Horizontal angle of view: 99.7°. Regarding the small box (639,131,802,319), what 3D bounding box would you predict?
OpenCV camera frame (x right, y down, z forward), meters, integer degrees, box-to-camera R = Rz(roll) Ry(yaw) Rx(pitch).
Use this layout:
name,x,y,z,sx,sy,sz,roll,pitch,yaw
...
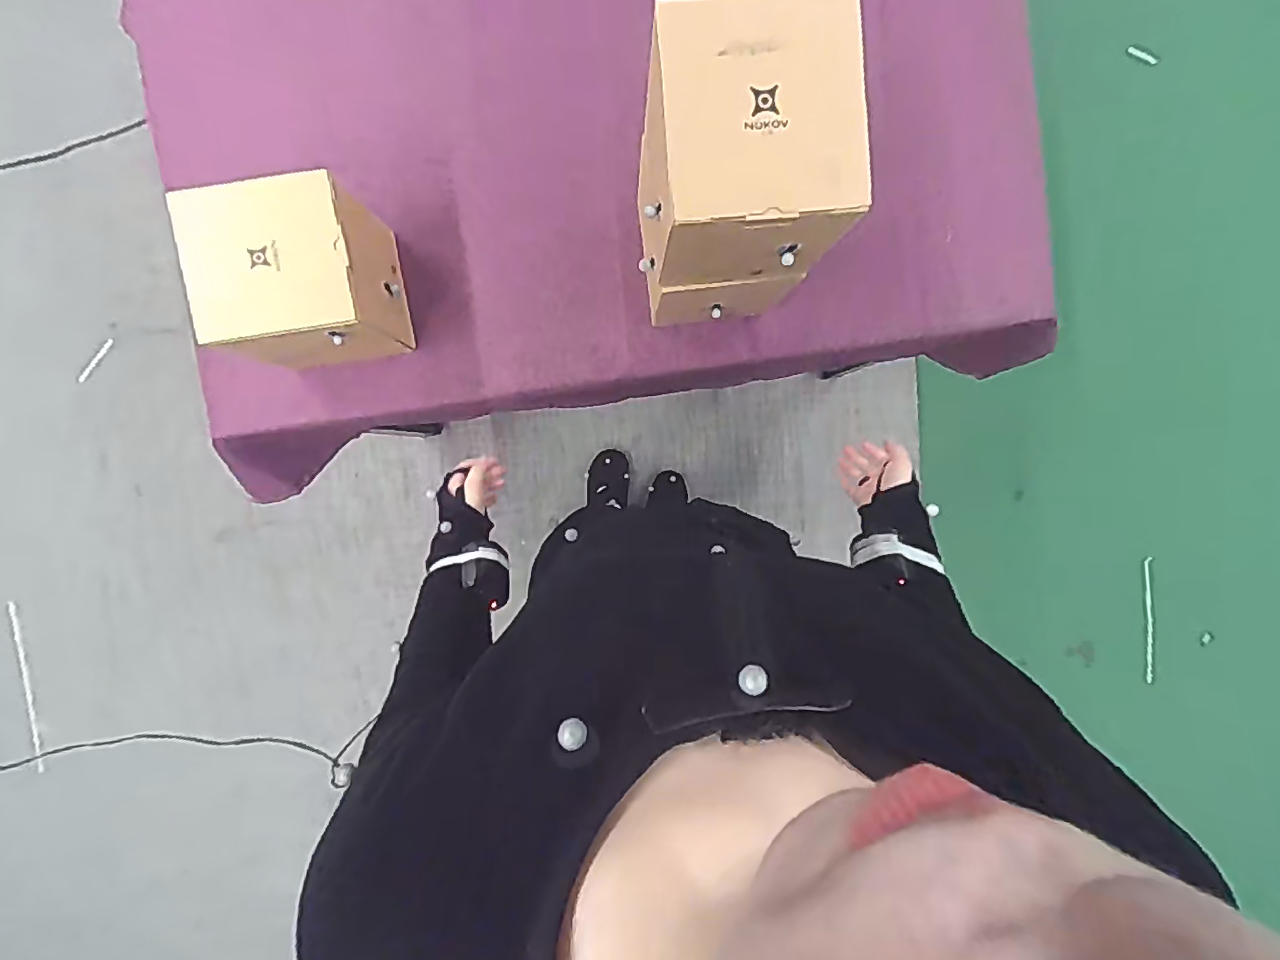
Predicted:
name,x,y,z,sx,sy,sz,roll,pitch,yaw
small box,0.090,-0.307,0.673,0.168,0.176,0.179,-7,93,-1

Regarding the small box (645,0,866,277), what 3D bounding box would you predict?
name,x,y,z,sx,sy,sz,roll,pitch,yaw
small box,0.093,-0.303,0.509,0.168,0.176,0.179,-5,93,-1

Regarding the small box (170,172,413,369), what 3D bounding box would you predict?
name,x,y,z,sx,sy,sz,roll,pitch,yaw
small box,-0.410,-0.242,0.666,0.179,0.176,0.168,-11,93,-2
